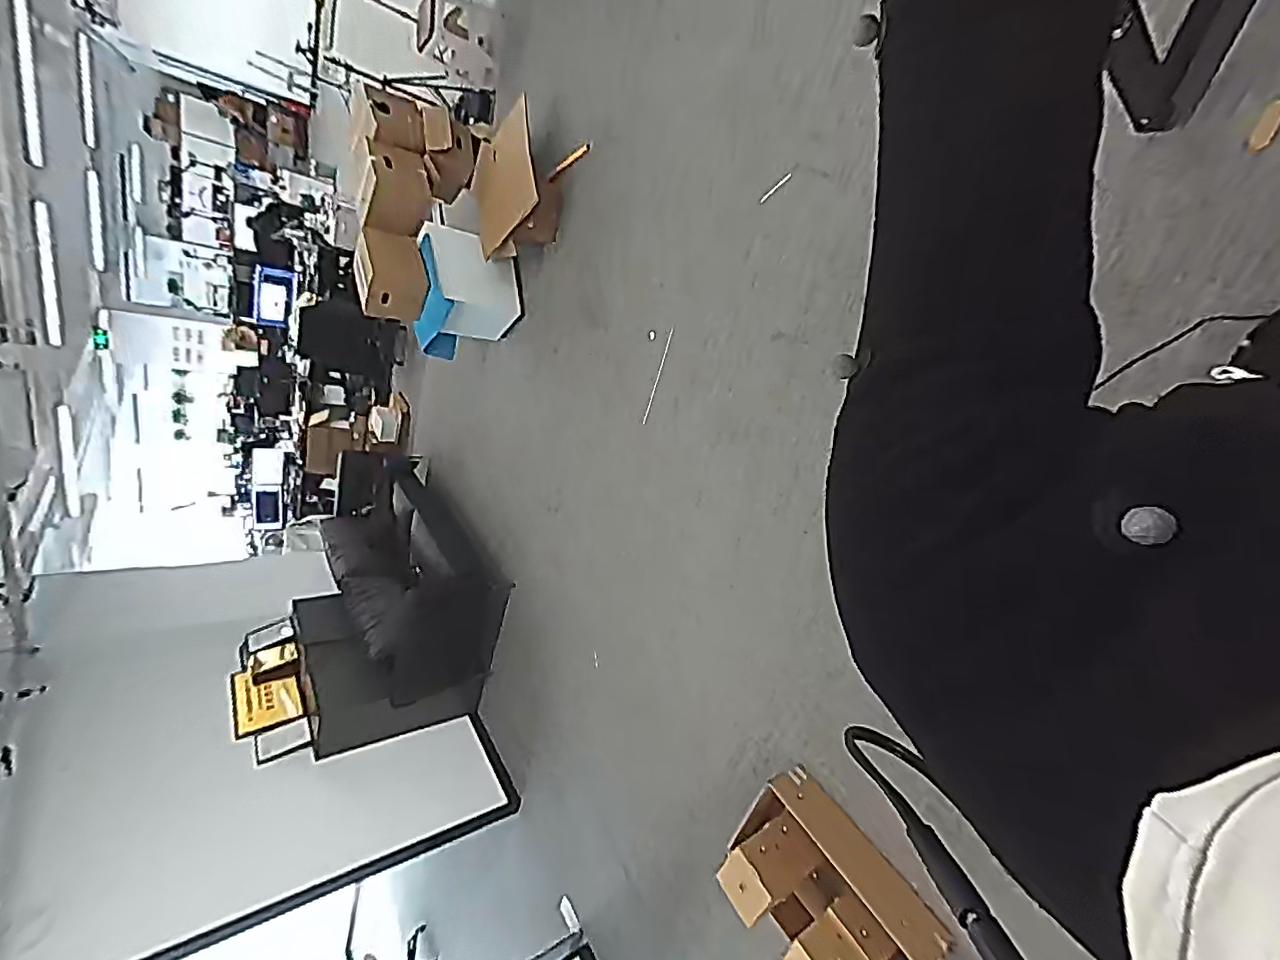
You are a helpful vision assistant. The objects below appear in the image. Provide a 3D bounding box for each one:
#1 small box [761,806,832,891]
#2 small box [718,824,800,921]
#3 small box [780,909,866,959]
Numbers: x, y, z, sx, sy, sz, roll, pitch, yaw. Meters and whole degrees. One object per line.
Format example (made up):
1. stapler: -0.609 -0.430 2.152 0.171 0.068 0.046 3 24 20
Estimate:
1. small box: 0.516 1.256 1.854 0.179 0.176 0.168 46 124 40
2. small box: 0.390 1.262 1.751 0.168 0.176 0.179 47 125 41
3. small box: 0.535 1.413 1.575 0.168 0.176 0.179 39 120 45
